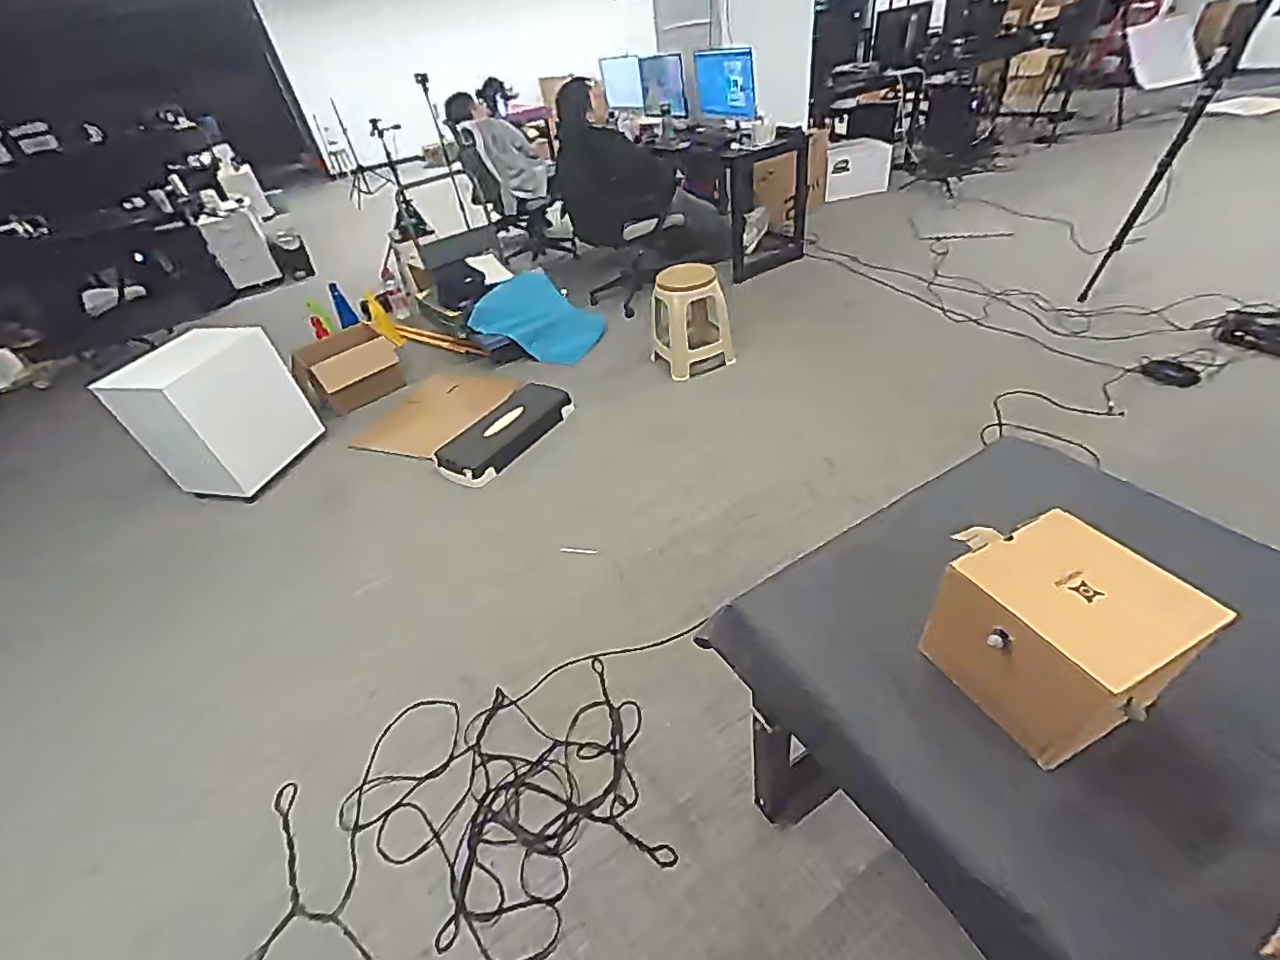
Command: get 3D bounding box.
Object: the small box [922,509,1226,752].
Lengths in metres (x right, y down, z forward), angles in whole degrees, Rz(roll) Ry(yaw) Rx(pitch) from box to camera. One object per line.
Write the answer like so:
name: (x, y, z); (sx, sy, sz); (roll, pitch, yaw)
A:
small box: (0.452, 0.169, 0.598); (0.168, 0.176, 0.179); (-21, 41, -14)
